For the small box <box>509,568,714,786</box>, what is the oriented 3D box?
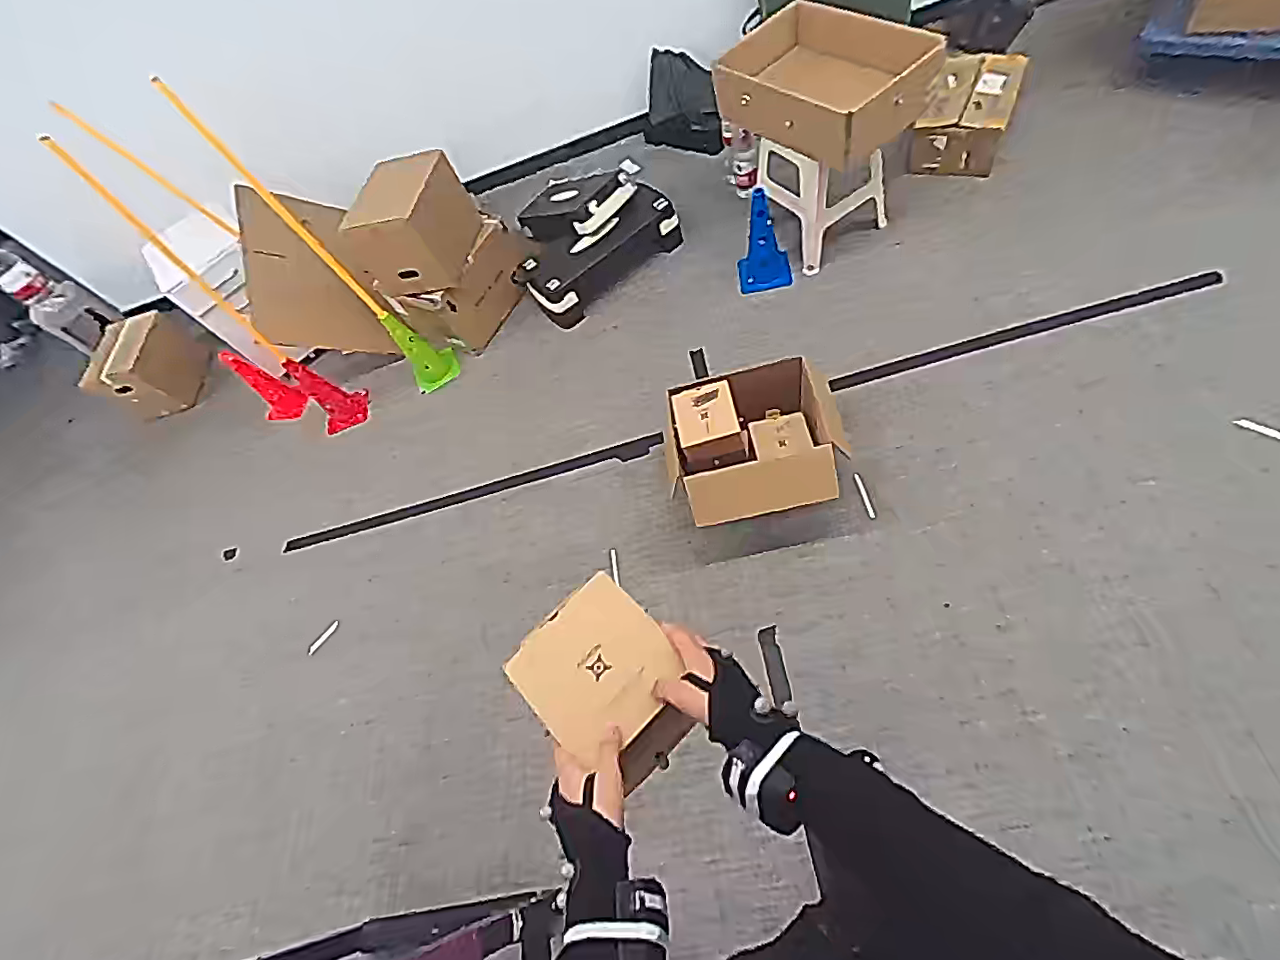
[{"bbox_3d":[-0.027,0.250,0.679,0.168,0.176,0.179,-41,56,-15],"label":"small box"}]
